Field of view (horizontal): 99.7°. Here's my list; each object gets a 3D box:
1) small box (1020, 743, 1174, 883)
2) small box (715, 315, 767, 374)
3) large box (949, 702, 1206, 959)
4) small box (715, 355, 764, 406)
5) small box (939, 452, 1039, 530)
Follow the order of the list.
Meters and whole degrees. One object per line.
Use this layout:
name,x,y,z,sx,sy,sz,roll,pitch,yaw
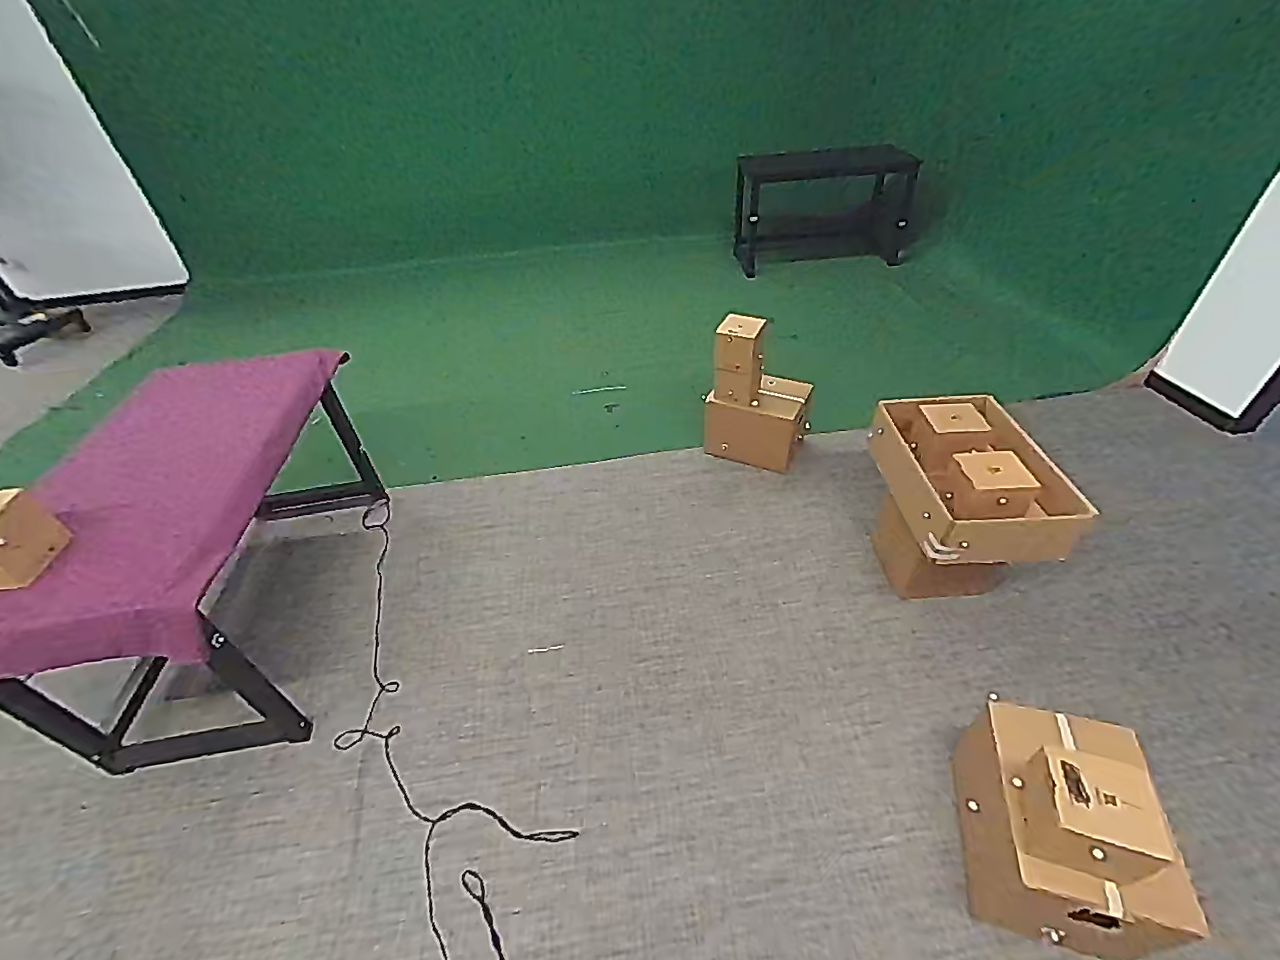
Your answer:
small box,0.890,0.665,1.079,0.179,0.176,0.168,10,43,18
small box,0.422,-0.571,2.282,0.168,0.176,0.179,17,45,22
large box,0.967,0.816,1.275,0.320,0.320,0.408,9,42,14
small box,0.436,-0.455,2.398,0.168,0.176,0.179,17,47,22
small box,1.040,0.035,1.629,0.179,0.176,0.168,-3,41,3
